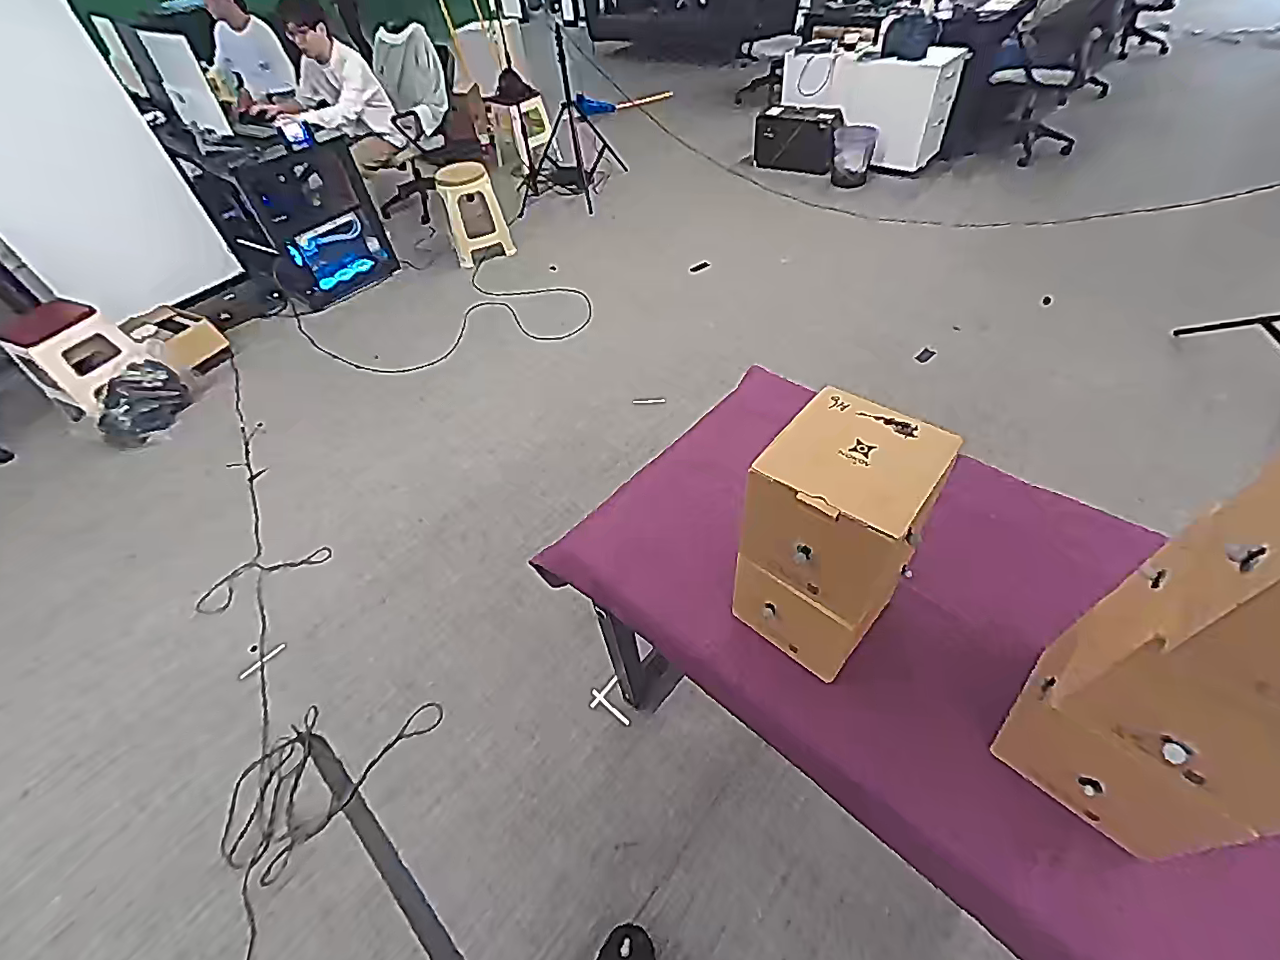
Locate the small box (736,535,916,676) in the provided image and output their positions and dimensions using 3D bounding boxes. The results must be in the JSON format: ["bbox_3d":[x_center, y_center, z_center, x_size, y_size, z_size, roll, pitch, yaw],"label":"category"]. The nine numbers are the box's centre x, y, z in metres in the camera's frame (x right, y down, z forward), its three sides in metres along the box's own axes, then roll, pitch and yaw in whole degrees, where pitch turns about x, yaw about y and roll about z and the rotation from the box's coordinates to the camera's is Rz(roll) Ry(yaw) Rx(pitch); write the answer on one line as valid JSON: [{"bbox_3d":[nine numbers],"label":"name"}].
[{"bbox_3d":[0.250,0.138,0.759,0.168,0.176,0.179,33,58,30],"label":"small box"}]

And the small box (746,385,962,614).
[{"bbox_3d":[0.240,0.024,0.642,0.168,0.176,0.179,31,58,28],"label":"small box"}]

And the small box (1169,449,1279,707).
[{"bbox_3d":[0.505,0.069,0.352,0.168,0.176,0.179,32,58,29],"label":"small box"}]

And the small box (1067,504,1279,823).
[{"bbox_3d":[0.533,0.162,0.484,0.168,0.176,0.179,34,61,31],"label":"small box"}]

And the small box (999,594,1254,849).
[{"bbox_3d":[0.542,0.271,0.606,0.179,0.176,0.168,-39,56,-25],"label":"small box"}]
